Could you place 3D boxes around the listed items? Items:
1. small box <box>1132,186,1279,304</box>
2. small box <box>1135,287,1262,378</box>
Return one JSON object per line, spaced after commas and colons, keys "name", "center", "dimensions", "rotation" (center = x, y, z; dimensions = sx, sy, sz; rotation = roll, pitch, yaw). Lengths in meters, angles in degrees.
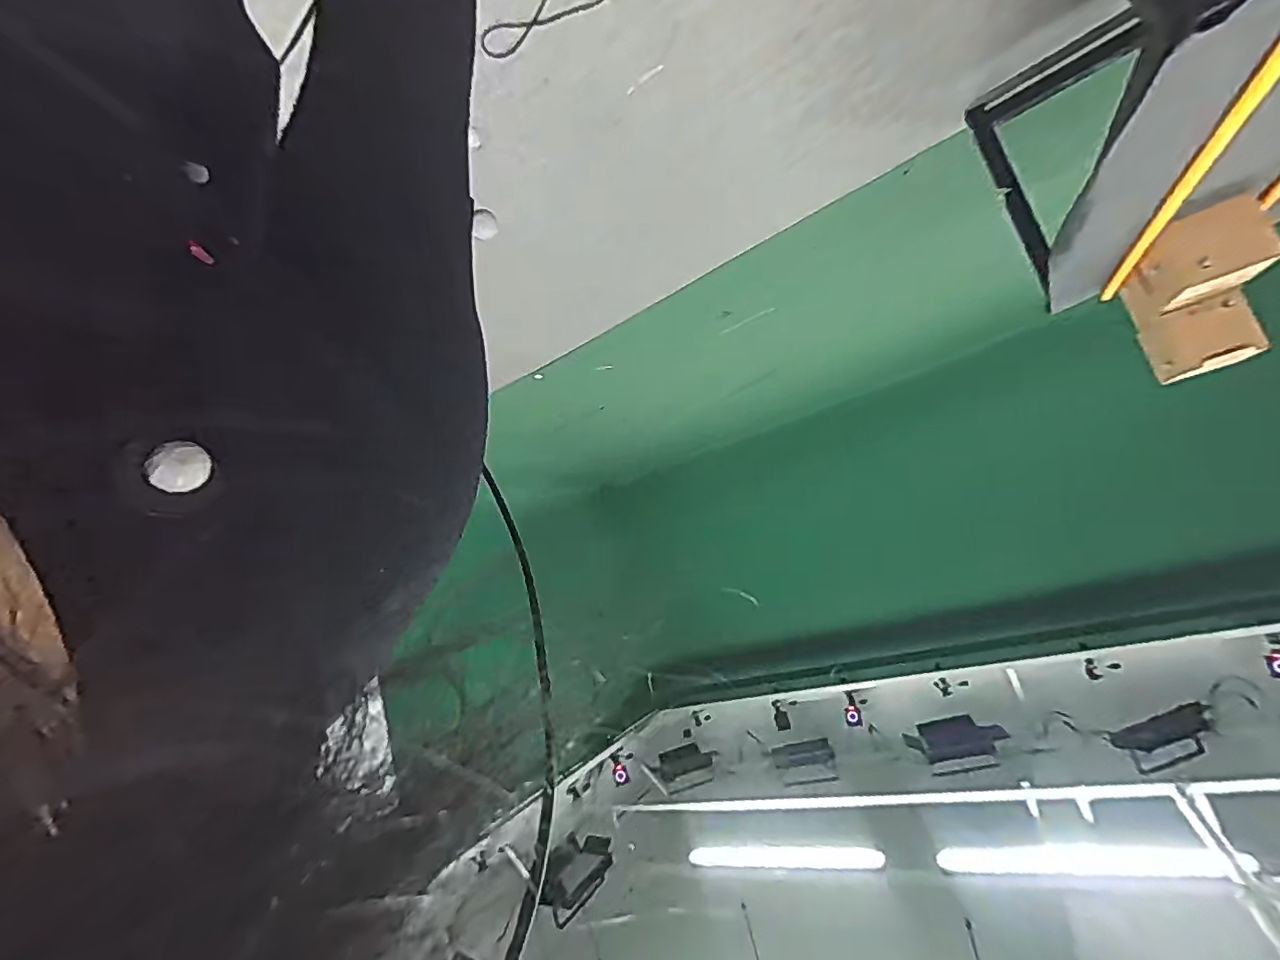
{"name": "small box", "center": [1.363, -0.568, 1.322], "dimensions": [0.179, 0.176, 0.168], "rotation": [-21, 168, 25]}
{"name": "small box", "center": [1.522, -0.406, 1.489], "dimensions": [0.168, 0.176, 0.179], "rotation": [-20, 169, 24]}
